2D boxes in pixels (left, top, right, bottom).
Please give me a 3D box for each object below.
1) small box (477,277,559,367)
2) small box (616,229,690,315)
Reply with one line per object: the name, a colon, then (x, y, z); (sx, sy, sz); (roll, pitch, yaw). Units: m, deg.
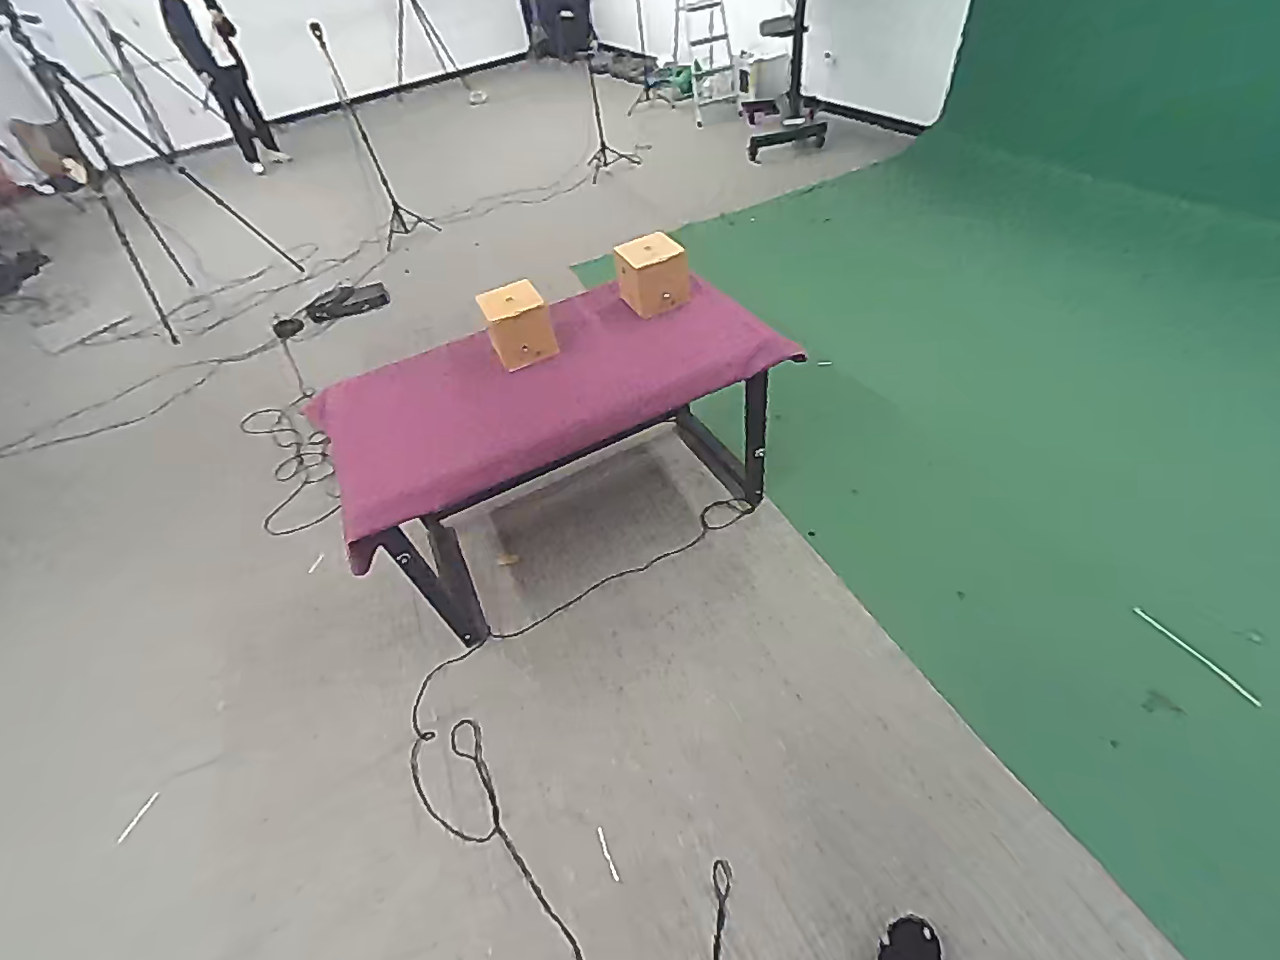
small box: (-0.353, -0.460, 1.577); (0.168, 0.176, 0.179); (-24, 50, -12)
small box: (0.041, -0.638, 1.664); (0.168, 0.176, 0.179); (-24, 49, -10)
